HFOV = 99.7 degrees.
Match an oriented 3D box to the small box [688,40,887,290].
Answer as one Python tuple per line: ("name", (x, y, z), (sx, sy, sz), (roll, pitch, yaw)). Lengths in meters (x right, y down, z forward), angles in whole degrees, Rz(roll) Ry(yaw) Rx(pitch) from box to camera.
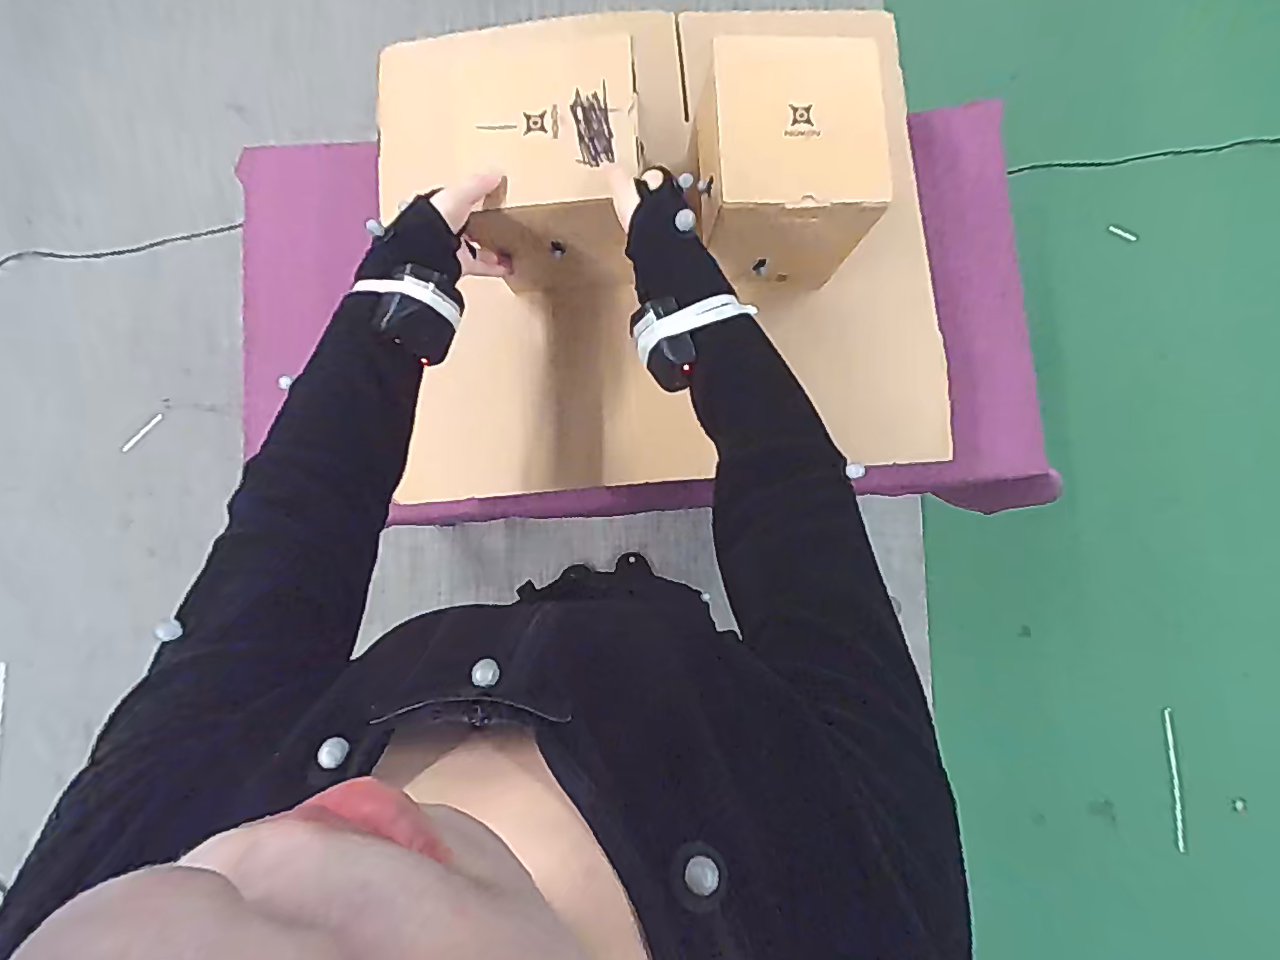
("small box", (0.148, -0.332, 0.599), (0.168, 0.176, 0.179), (-2, 85, -4))
